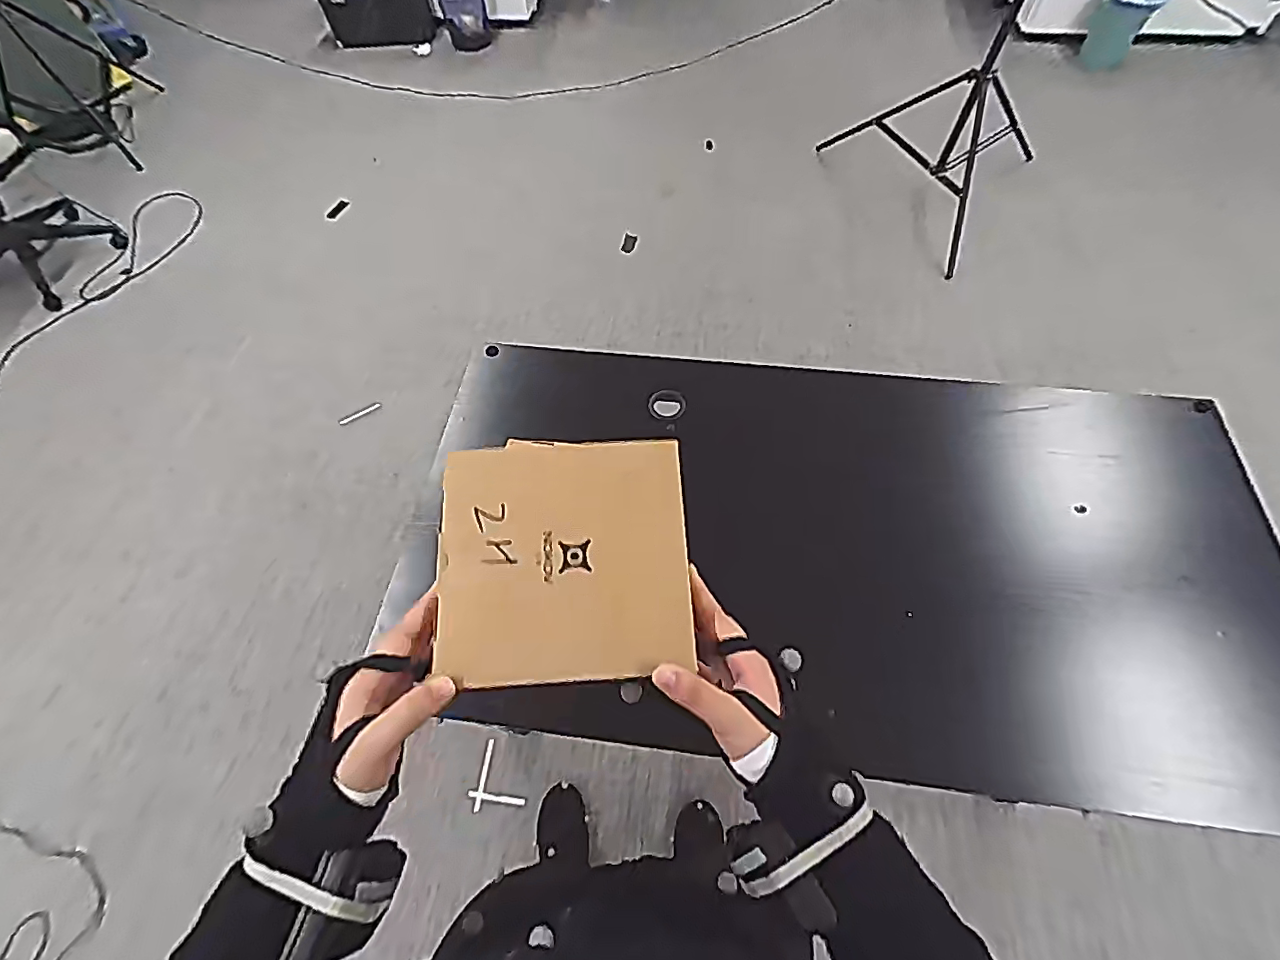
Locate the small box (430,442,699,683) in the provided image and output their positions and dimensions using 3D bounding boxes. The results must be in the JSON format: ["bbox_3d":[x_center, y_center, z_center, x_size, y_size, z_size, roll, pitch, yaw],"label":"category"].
[{"bbox_3d":[-0.052,0.076,0.448,0.179,0.176,0.168,-2,70,-1],"label":"small box"}]
